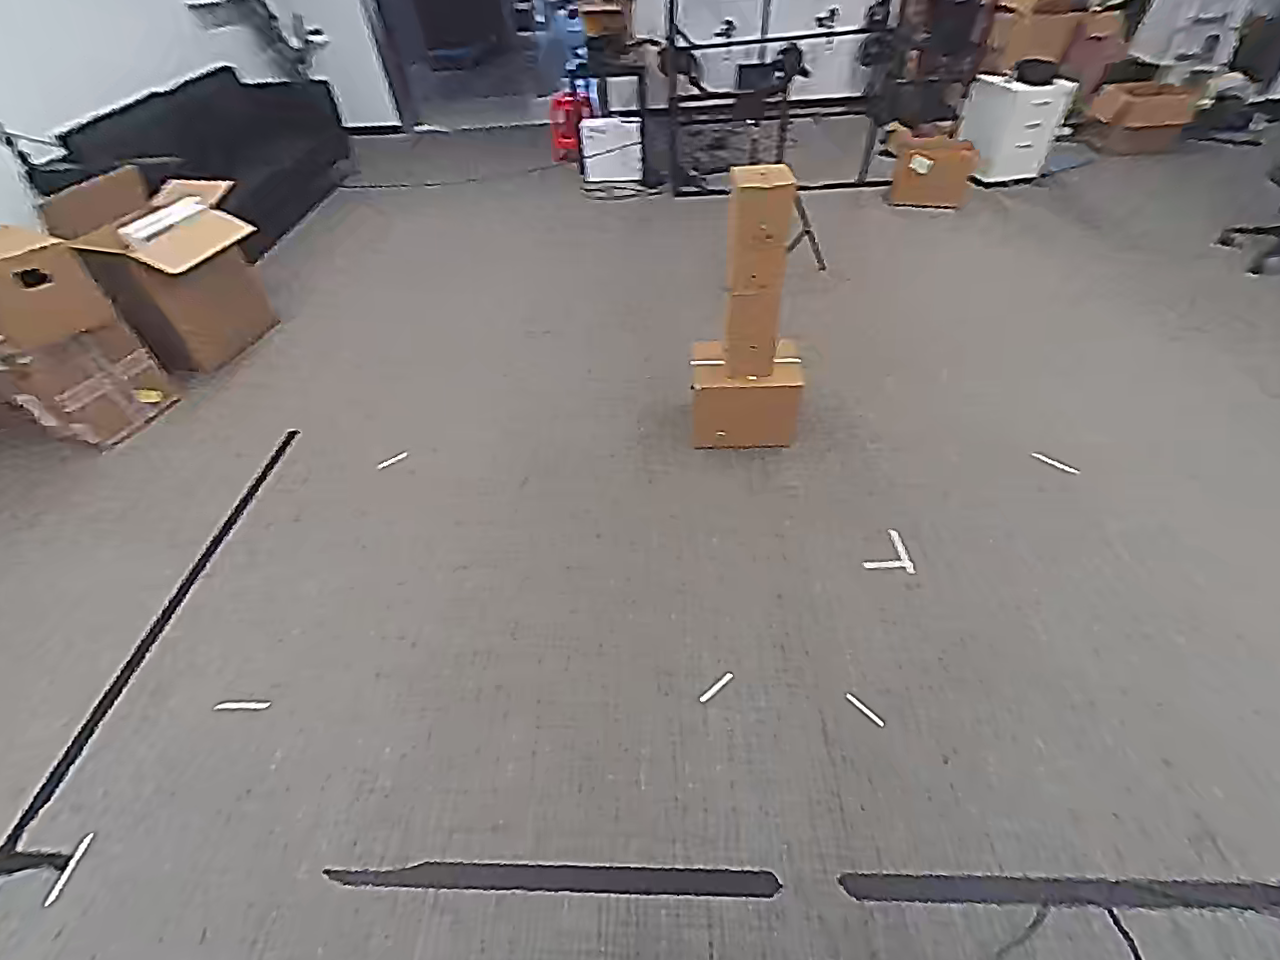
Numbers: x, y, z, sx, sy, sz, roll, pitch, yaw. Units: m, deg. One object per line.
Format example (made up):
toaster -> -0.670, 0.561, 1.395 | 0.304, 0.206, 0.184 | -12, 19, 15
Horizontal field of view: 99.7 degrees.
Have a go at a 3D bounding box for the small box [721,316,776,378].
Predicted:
small box -> 0.395, -0.491, 2.010 | 0.179, 0.176, 0.168 | -2, 47, 1

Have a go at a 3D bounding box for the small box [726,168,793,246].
small box -> 0.359, -0.839, 1.664 | 0.168, 0.176, 0.179 | -3, 48, 2

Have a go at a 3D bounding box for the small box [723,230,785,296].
small box -> 0.369, -0.724, 1.781 | 0.168, 0.176, 0.179 | -2, 47, 2
